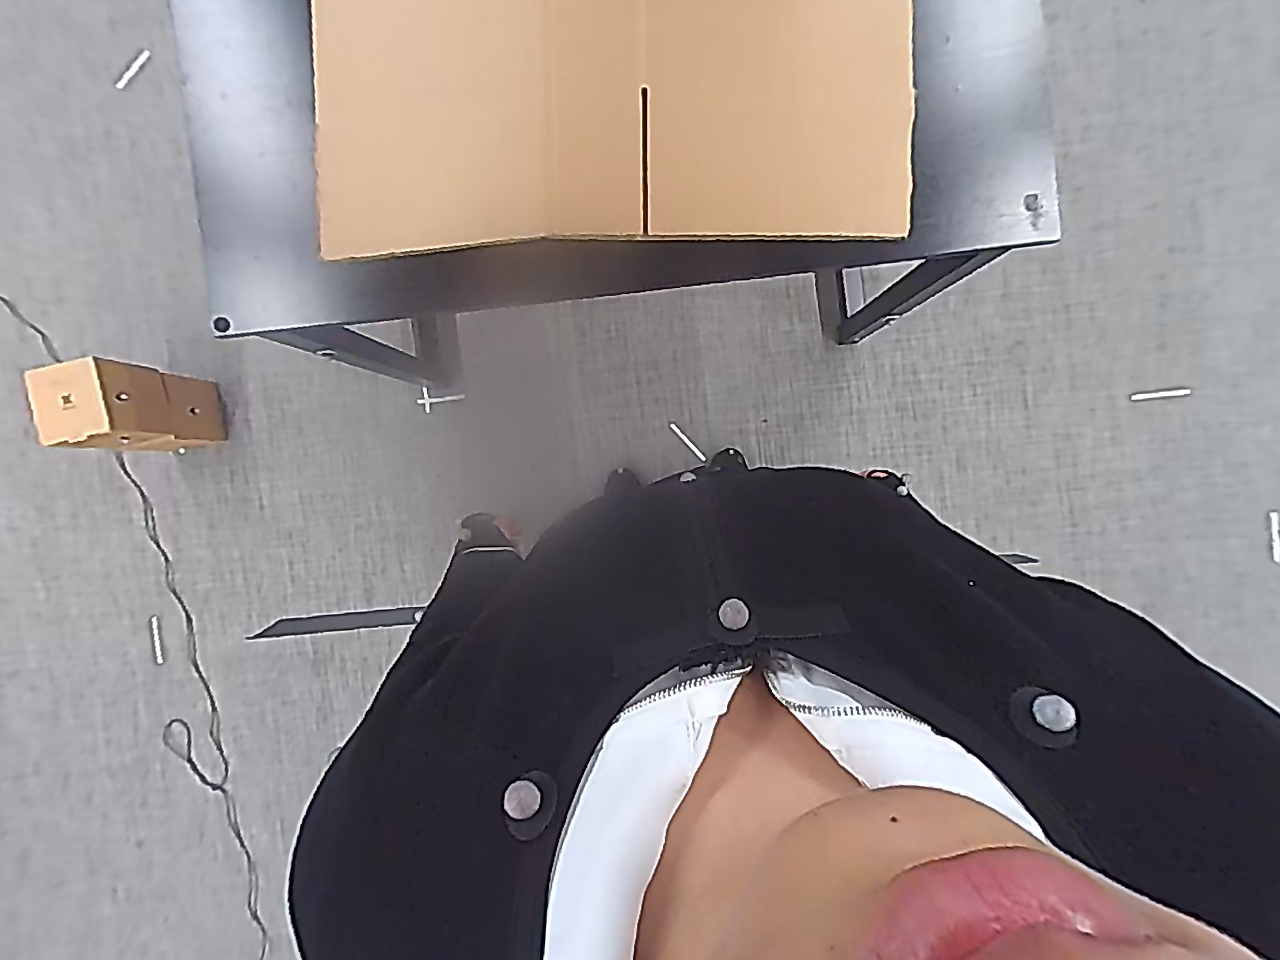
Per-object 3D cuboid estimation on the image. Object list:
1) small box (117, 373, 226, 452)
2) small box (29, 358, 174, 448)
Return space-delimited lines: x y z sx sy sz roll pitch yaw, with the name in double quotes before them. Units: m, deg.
"small box" -1.267 -0.175 1.456 0.168 0.176 0.179 -10 92 2
"small box" -1.274 -0.177 1.293 0.168 0.176 0.179 -13 91 1
